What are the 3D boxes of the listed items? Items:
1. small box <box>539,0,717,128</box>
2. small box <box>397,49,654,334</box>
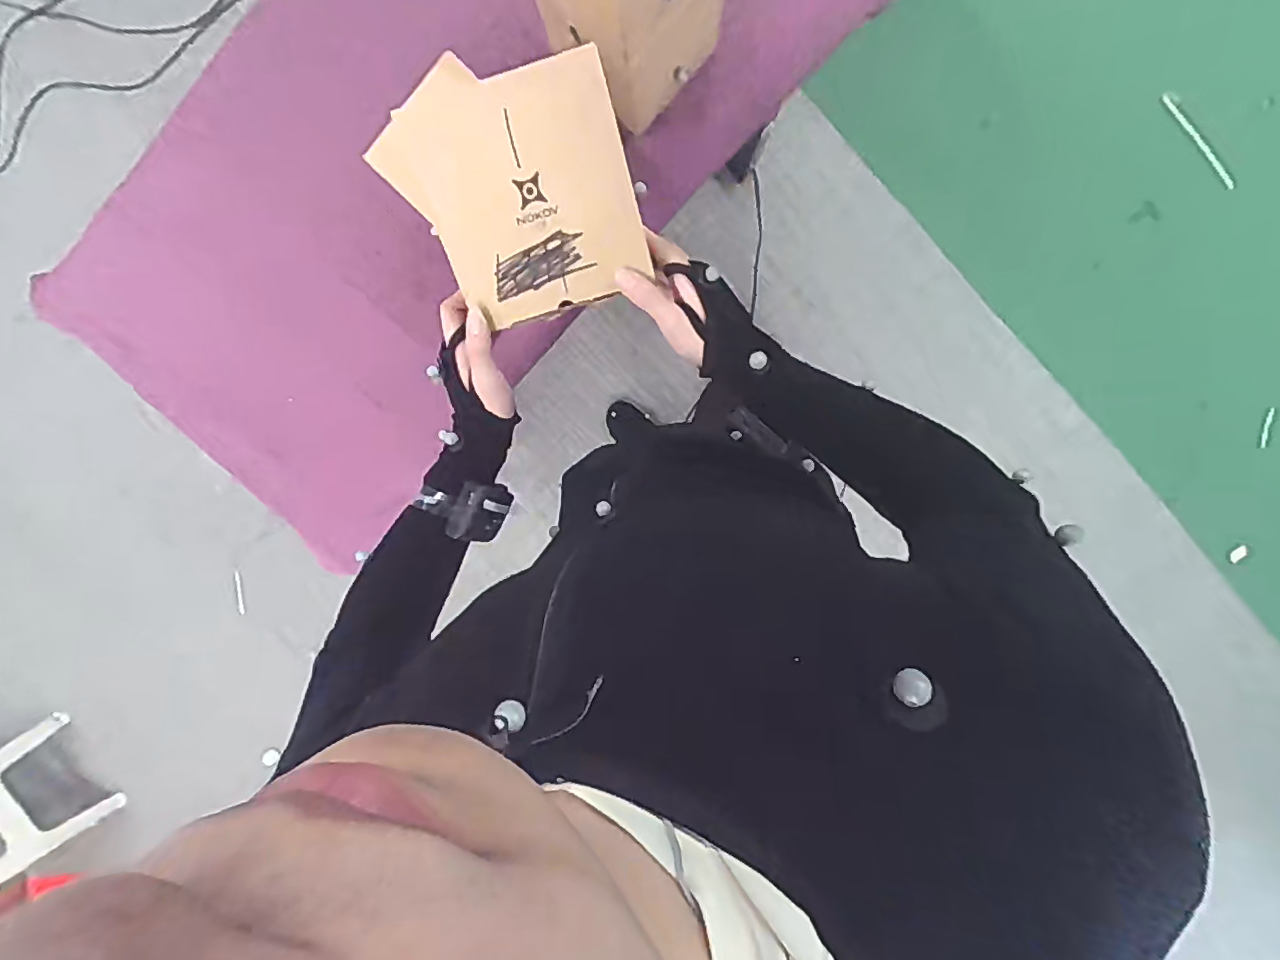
[{"bbox_3d":[-0.019,-0.609,0.698,0.179,0.176,0.168,44,98,-5],"label":"small box"},{"bbox_3d":[-0.088,-0.256,0.510,0.168,0.176,0.179,-15,114,3],"label":"small box"}]
